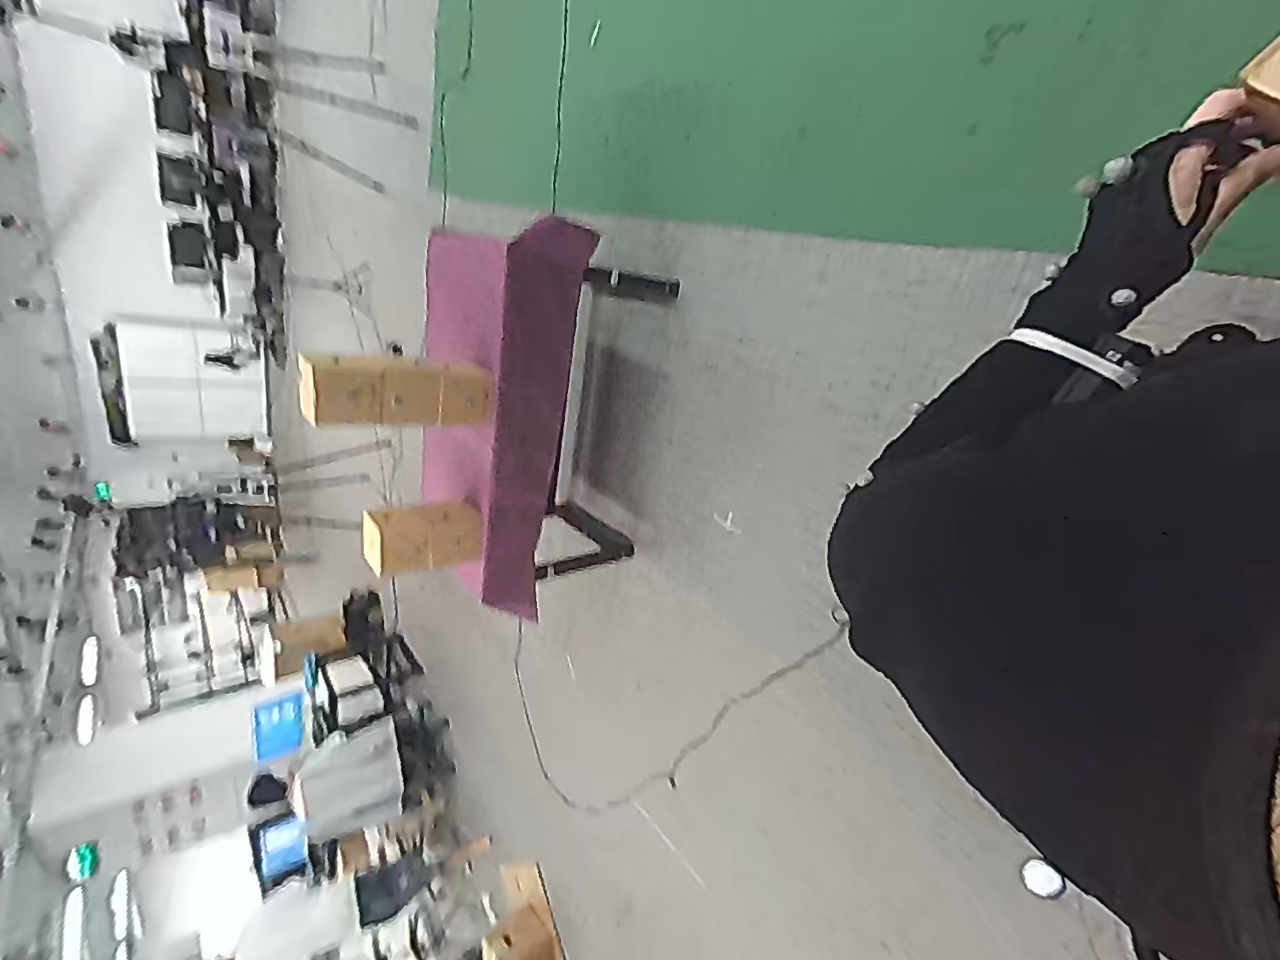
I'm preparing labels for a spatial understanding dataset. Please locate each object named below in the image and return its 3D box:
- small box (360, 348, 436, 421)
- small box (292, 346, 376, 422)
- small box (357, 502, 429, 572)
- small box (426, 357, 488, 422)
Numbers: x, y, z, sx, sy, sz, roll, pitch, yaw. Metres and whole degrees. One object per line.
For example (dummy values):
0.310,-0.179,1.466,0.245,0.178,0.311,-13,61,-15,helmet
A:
-0.721,-0.283,1.607,0.168,0.176,0.179,32,117,41,small box
-0.848,-0.270,1.504,0.179,0.176,0.168,31,117,40,small box
-0.811,0.177,1.772,0.179,0.176,0.168,27,115,42,small box
-0.599,-0.290,1.718,0.179,0.176,0.168,31,117,41,small box
